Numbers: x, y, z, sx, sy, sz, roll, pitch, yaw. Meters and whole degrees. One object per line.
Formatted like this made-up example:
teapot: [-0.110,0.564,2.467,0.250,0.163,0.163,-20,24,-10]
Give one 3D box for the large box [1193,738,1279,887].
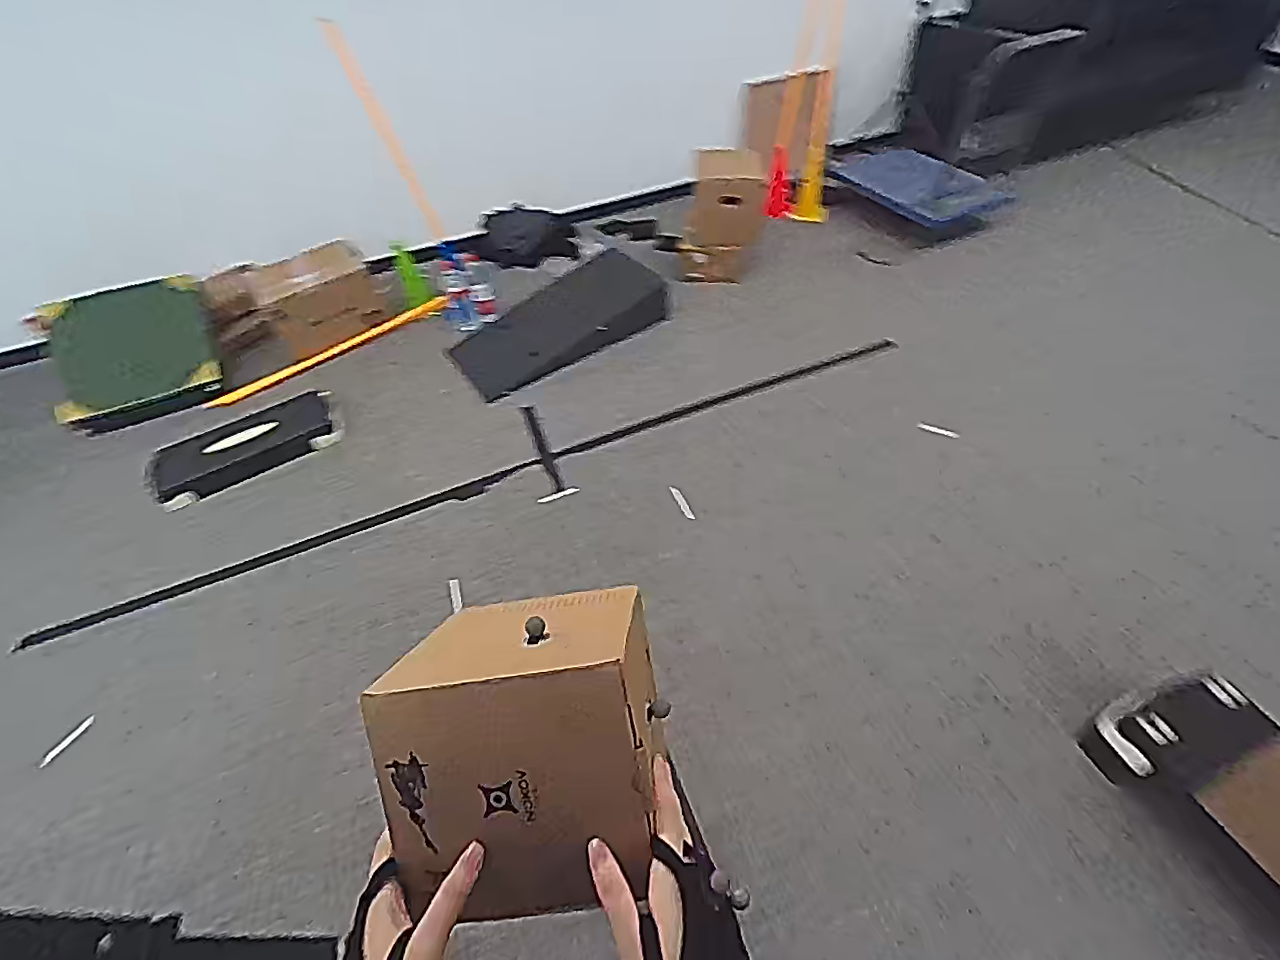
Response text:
large box: [1.285,0.608,0.861,0.320,0.320,0.408,-20,49,-13]
